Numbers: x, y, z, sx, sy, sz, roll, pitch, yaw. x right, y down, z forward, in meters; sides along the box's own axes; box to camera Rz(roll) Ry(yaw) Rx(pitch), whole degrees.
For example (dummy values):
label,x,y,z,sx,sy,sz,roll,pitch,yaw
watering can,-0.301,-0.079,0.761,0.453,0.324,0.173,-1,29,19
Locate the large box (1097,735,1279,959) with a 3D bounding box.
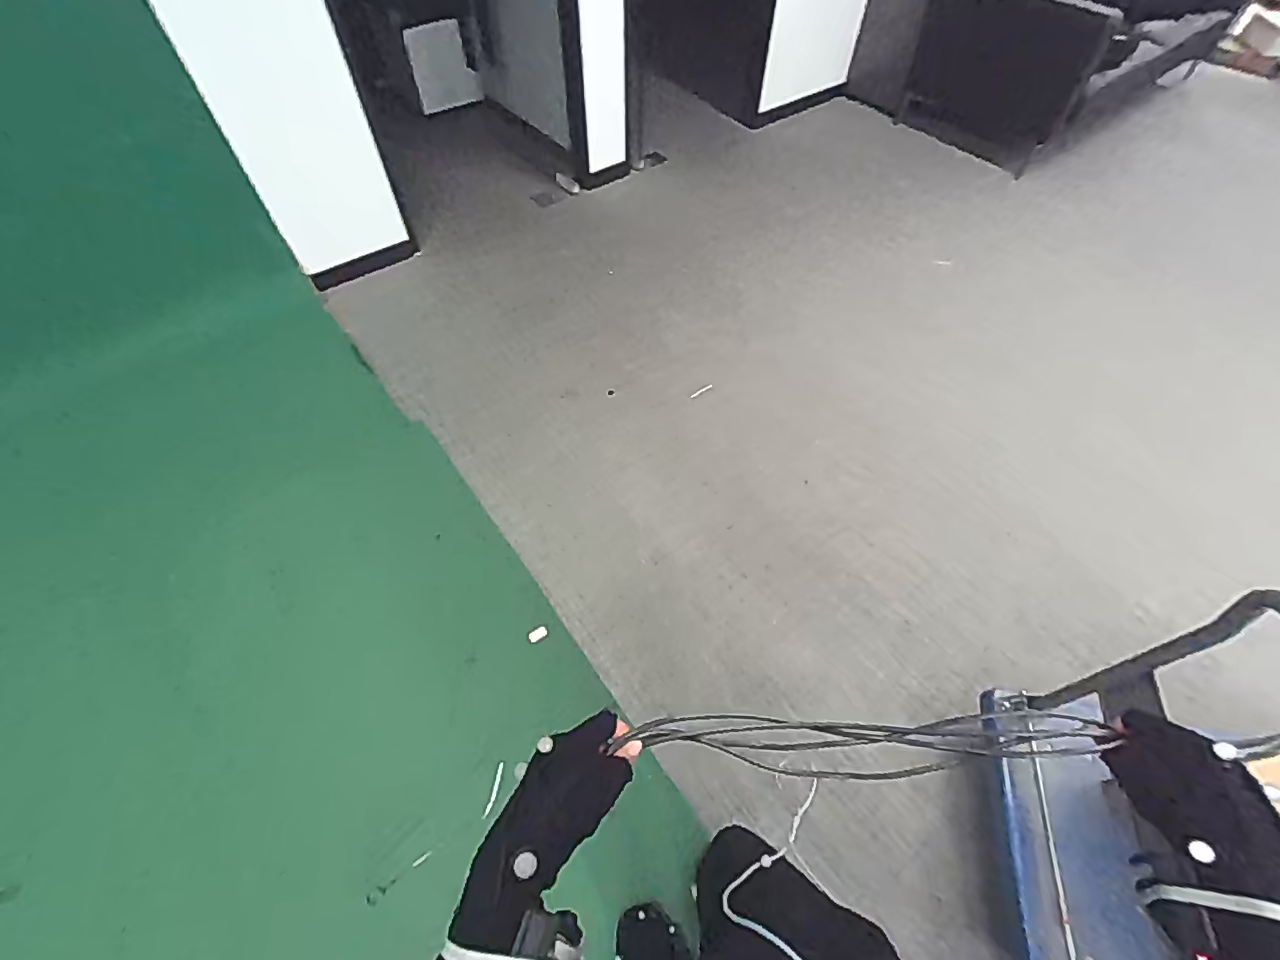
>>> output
label,x,y,z,sx,sy,sz,roll,pitch,yaw
large box,1.133,0.677,0.913,0.320,0.320,0.408,-8,55,-6
